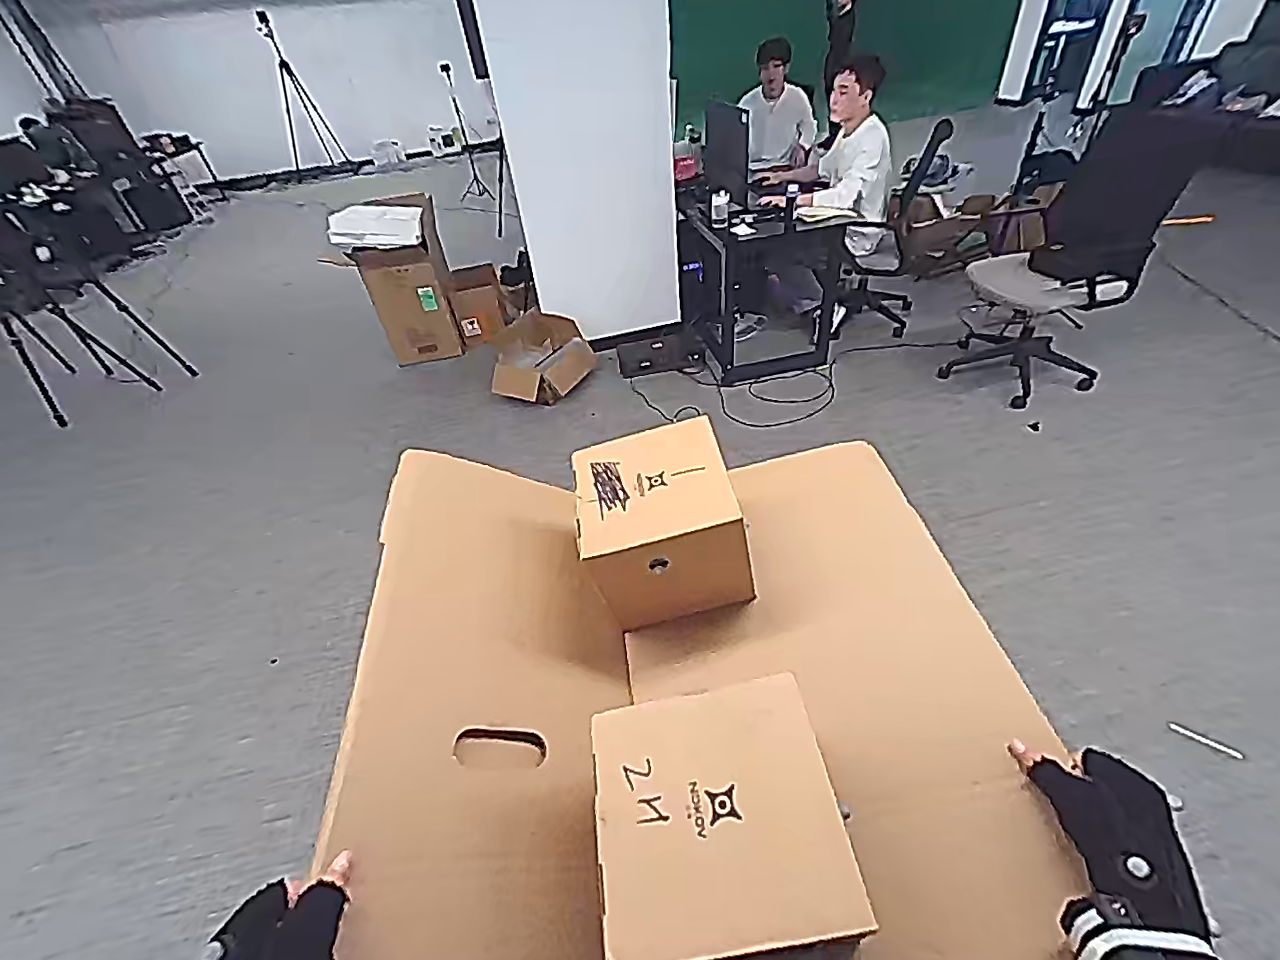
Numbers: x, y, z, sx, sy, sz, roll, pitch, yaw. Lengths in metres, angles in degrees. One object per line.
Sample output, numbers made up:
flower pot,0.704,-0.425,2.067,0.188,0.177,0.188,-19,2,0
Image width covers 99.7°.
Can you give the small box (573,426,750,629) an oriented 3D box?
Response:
small box,0.027,0.065,0.677,0.179,0.176,0.168,-15,47,4
